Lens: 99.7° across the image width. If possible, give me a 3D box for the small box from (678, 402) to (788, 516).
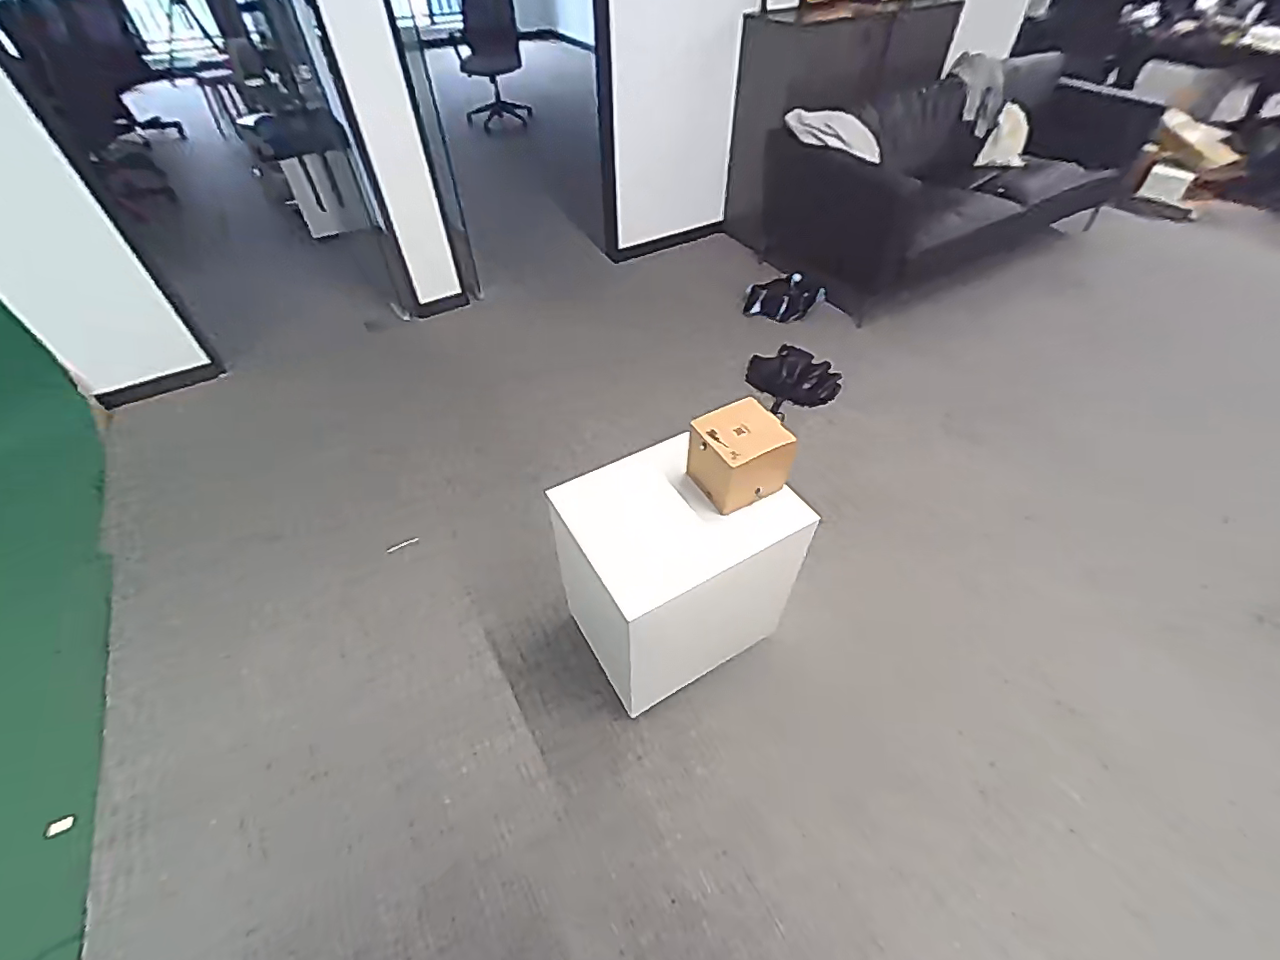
[{"bbox_3d":[0.204,-0.047,1.246,0.179,0.176,0.168,-22,52,-22],"label":"small box"}]
